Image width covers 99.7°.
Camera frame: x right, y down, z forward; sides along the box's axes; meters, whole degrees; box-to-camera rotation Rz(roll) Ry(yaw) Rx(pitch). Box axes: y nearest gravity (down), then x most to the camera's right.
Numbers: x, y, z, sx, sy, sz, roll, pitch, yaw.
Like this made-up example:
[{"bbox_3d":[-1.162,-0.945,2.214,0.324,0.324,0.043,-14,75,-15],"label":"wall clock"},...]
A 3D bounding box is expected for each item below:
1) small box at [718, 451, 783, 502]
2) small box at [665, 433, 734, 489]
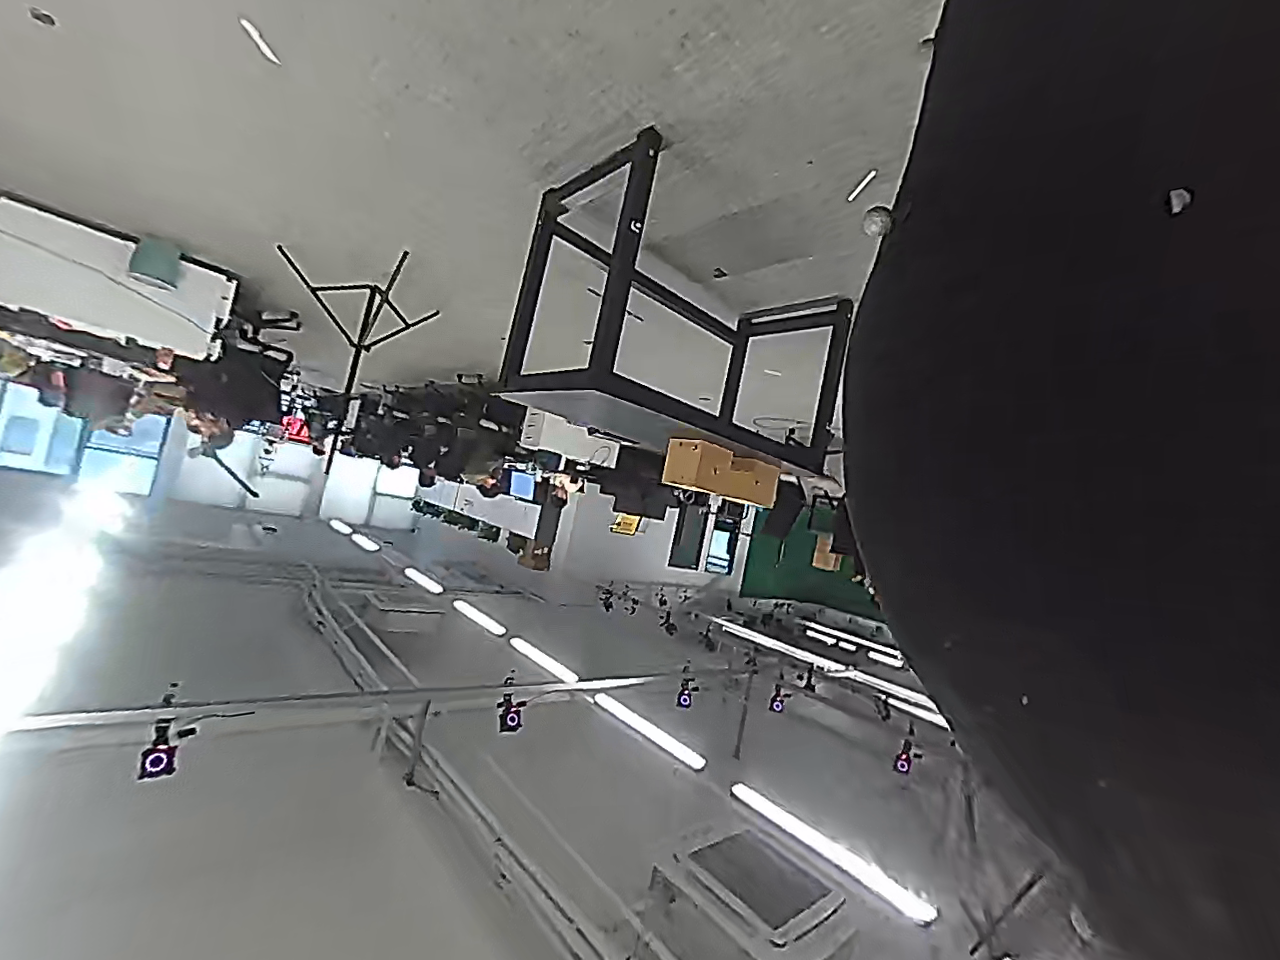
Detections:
[{"bbox_3d":[0.443,-0.017,2.157,0.179,0.176,0.168,13,178,-39],"label":"small box"},{"bbox_3d":[0.220,-0.071,1.970,0.179,0.176,0.168,13,178,-42],"label":"small box"}]
